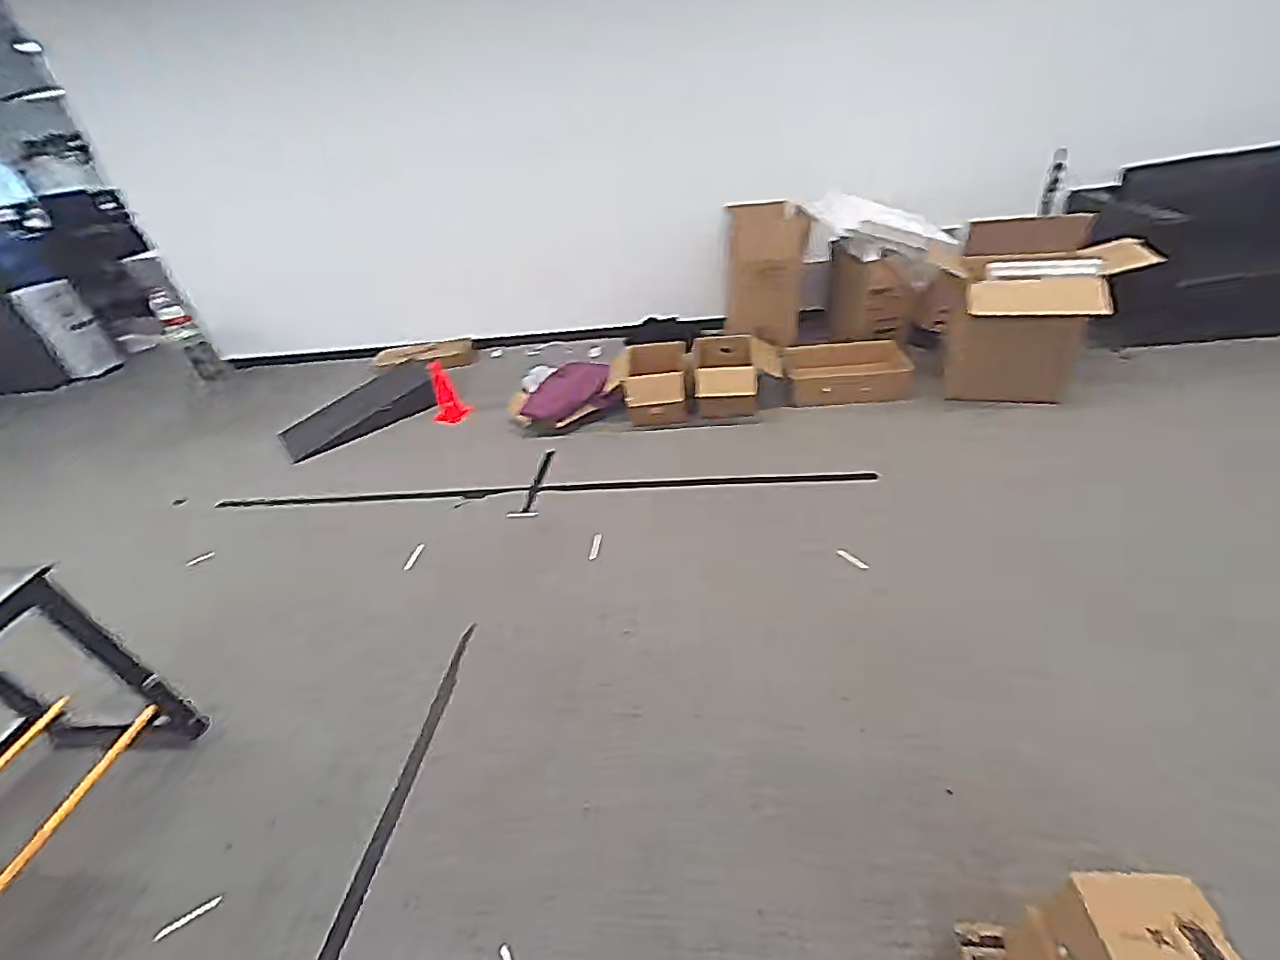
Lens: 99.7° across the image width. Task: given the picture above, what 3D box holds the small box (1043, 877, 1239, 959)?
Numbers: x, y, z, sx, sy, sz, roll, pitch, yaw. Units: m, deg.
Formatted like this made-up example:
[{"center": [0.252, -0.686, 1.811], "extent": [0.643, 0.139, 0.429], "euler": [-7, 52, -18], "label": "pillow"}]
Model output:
[{"center": [0.778, 0.744, 0.836], "extent": [0.179, 0.176, 0.168], "euler": [-3, 37, 7], "label": "small box"}]

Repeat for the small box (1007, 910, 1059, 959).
[{"center": [0.781, 0.876, 0.935], "extent": [0.179, 0.176, 0.168], "euler": [-2, 37, 8], "label": "small box"}]
